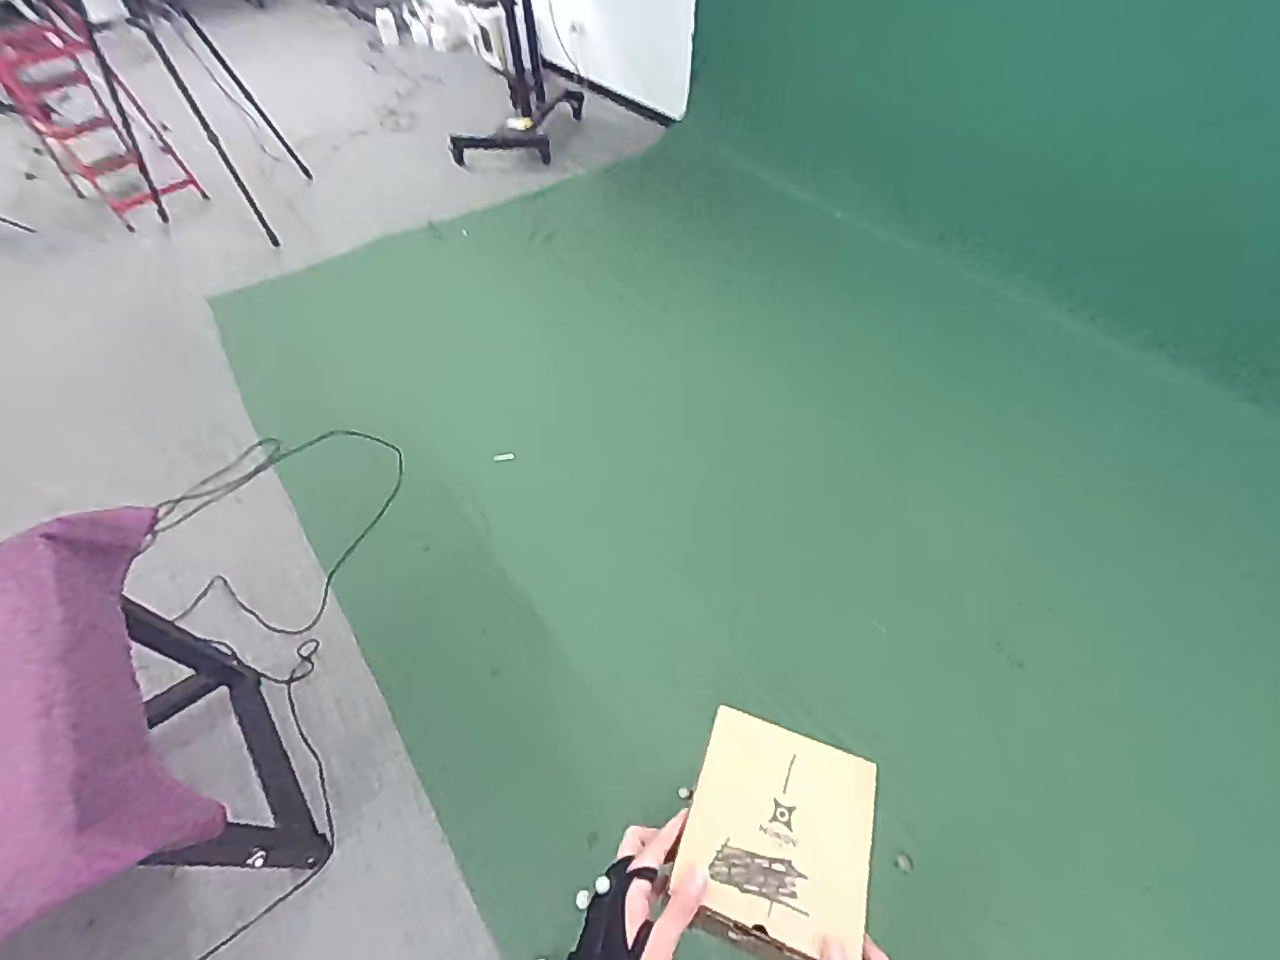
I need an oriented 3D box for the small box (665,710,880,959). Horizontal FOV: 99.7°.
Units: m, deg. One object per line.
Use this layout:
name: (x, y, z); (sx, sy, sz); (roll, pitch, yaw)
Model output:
small box: (0.129, 0.377, 0.554); (0.168, 0.176, 0.179); (16, 48, 13)
